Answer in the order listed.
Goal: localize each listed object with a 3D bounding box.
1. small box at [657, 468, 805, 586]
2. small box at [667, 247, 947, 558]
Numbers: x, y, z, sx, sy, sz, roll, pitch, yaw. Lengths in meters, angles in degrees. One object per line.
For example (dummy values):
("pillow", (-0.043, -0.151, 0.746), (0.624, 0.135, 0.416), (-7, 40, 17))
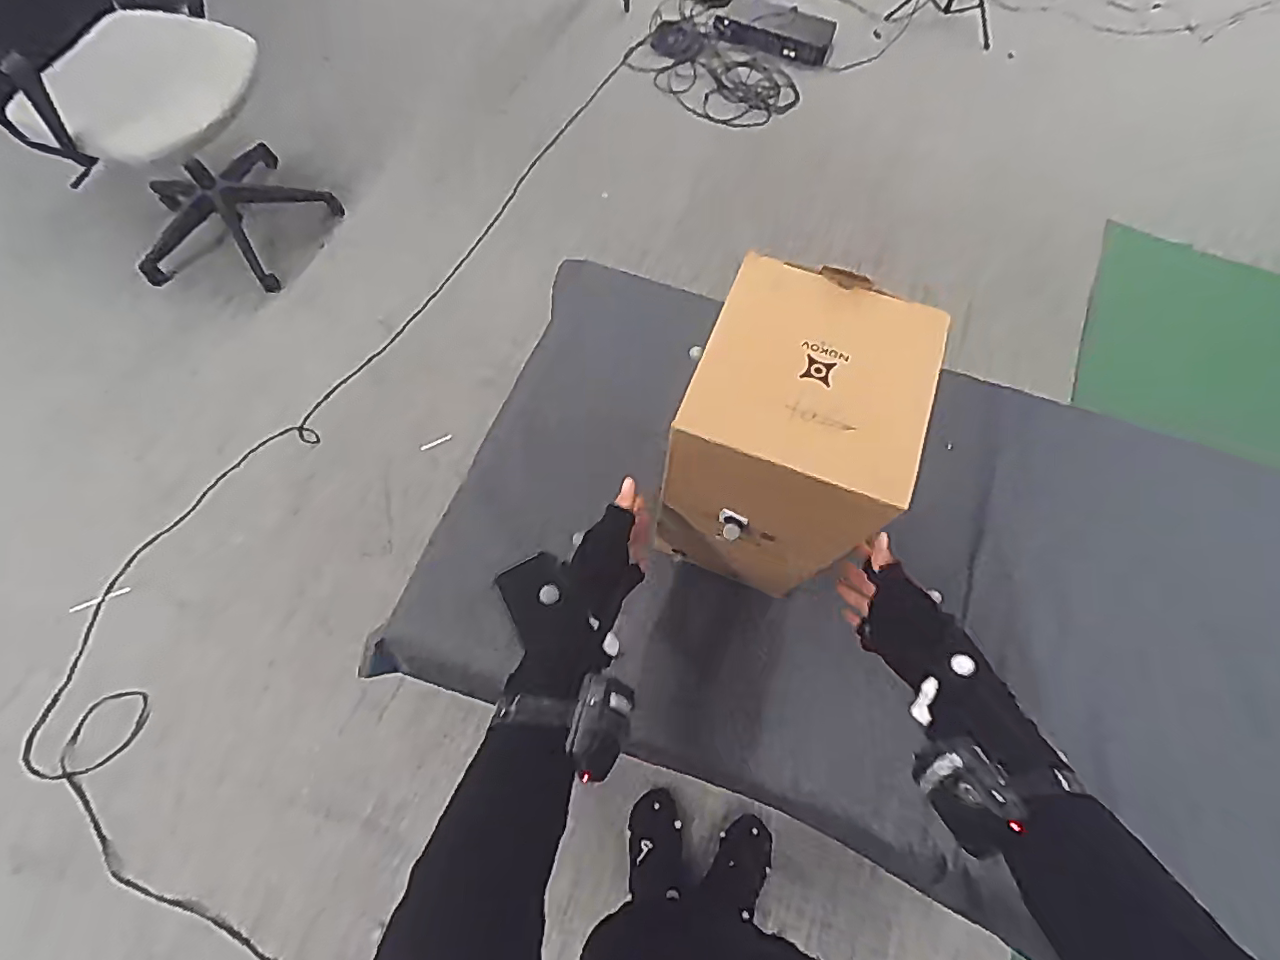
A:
("small box", (0.125, 0.002, 0.618), (0.168, 0.176, 0.179), (22, 68, 8))
("small box", (0.127, -0.055, 0.467), (0.168, 0.176, 0.179), (21, 70, 8))
